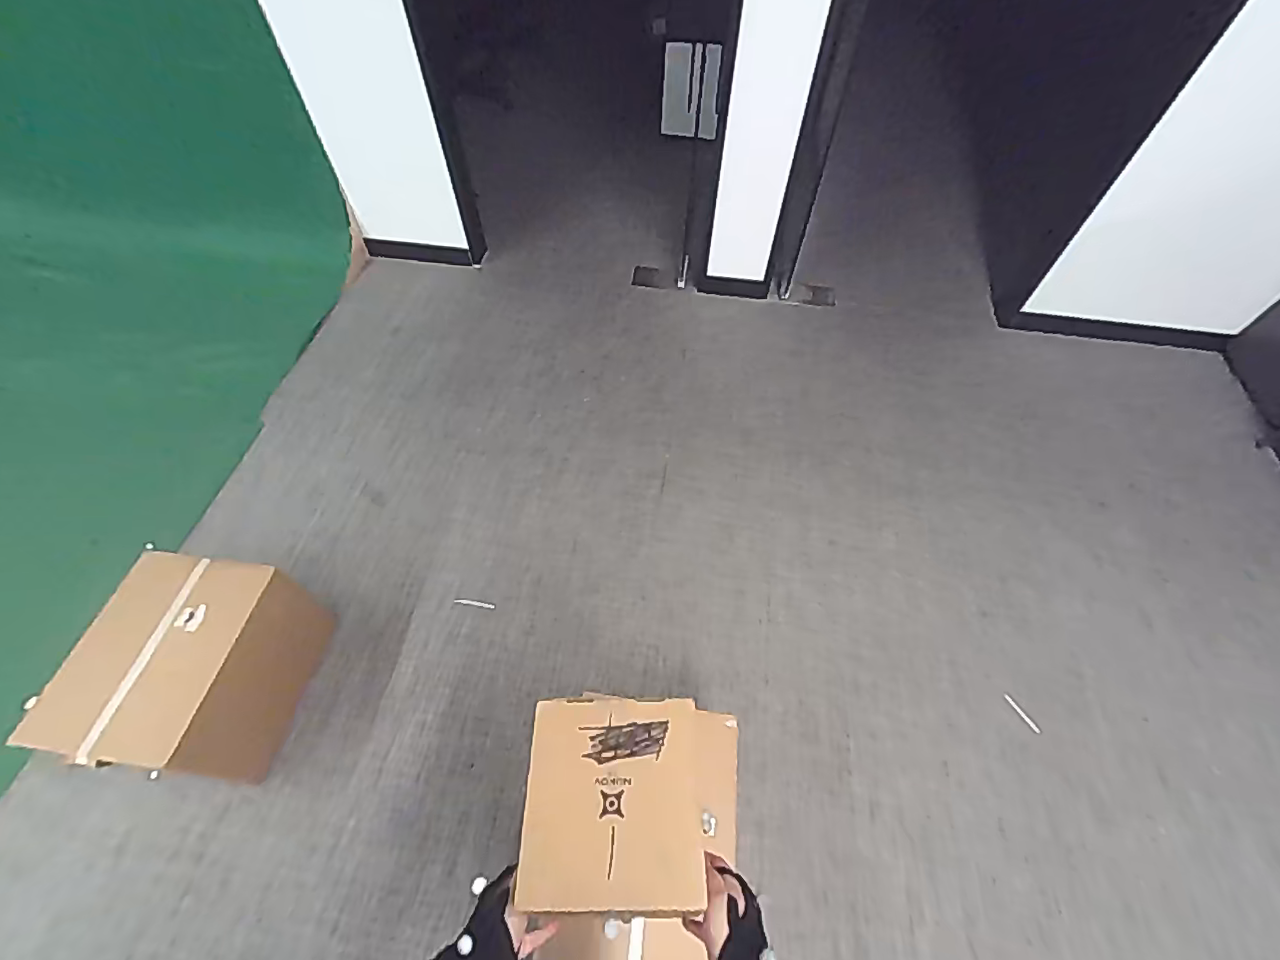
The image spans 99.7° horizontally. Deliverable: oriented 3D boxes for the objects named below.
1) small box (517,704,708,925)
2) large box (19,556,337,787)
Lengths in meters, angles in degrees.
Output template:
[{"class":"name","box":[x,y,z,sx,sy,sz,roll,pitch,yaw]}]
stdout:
[{"class":"small box","box":[-0.023,0.353,0.570,0.168,0.176,0.179,-1,50,1]},{"class":"large box","box":[-0.972,0.433,1.213,0.320,0.320,0.408,7,55,4]}]
